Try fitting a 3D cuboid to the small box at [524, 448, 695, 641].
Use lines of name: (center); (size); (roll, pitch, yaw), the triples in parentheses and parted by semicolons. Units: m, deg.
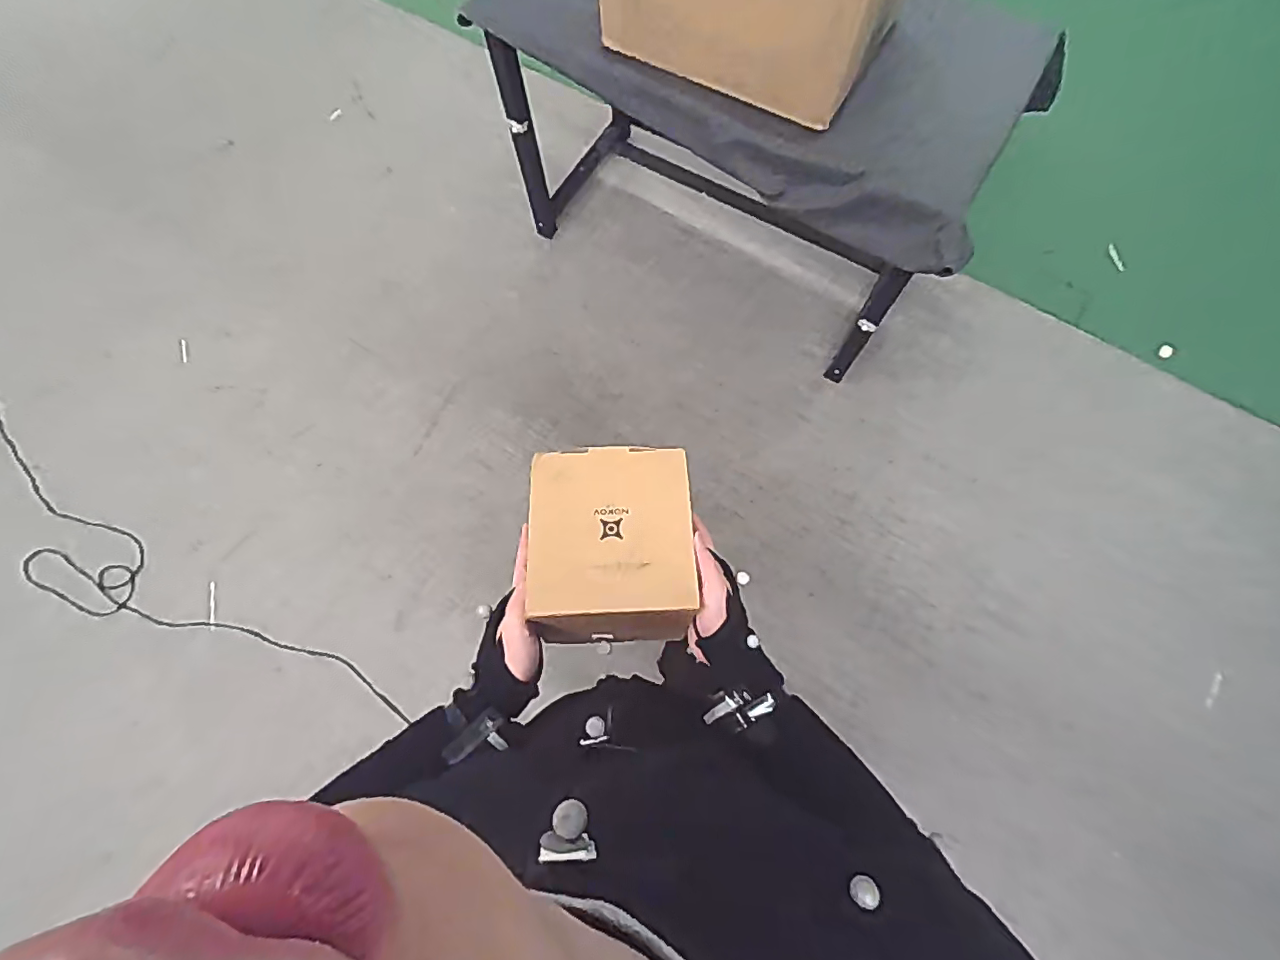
small box: (-0.035, 0.079, 0.621); (0.168, 0.176, 0.179); (-2, 65, -3)
